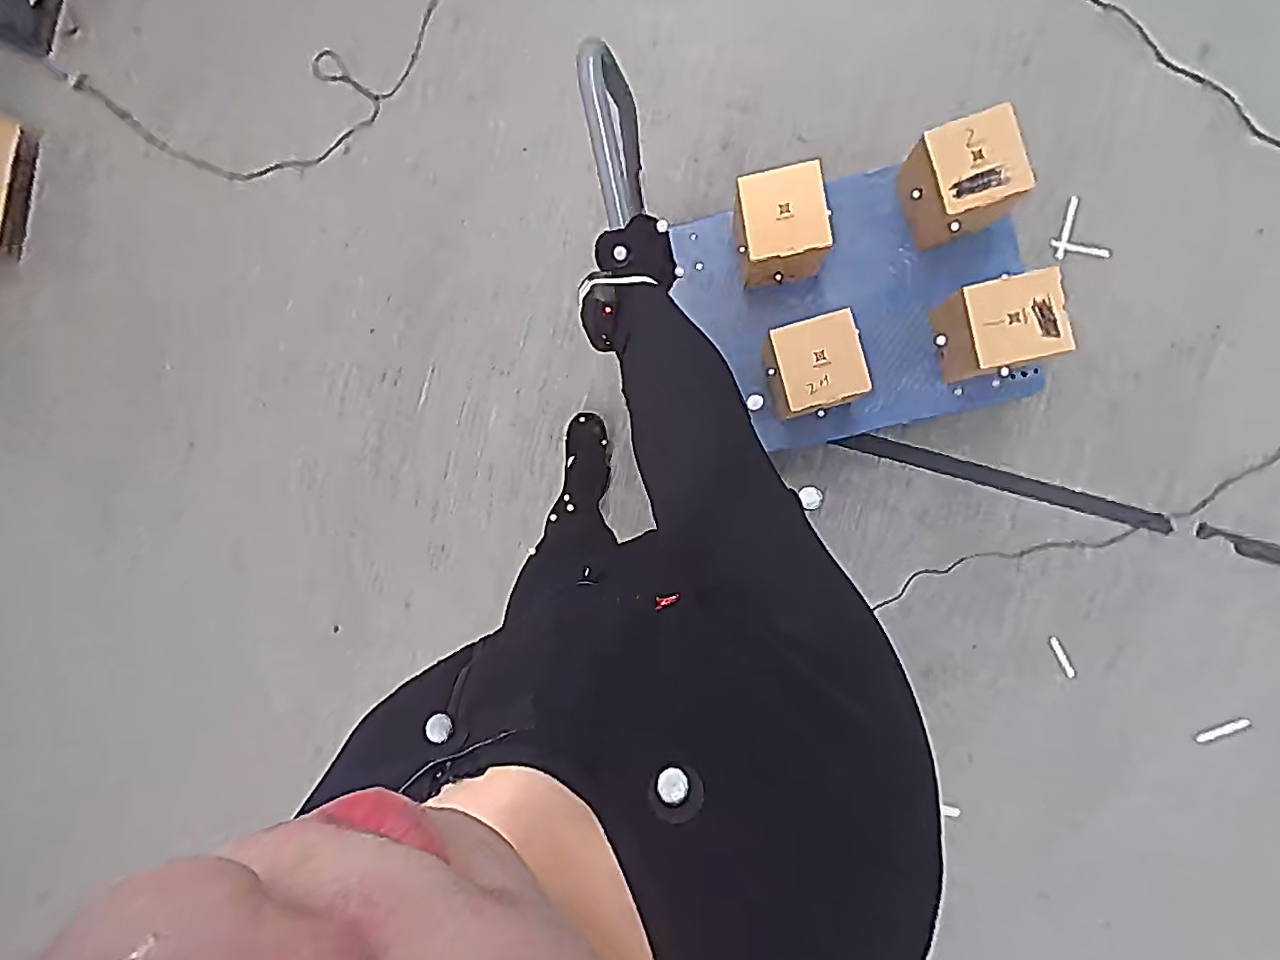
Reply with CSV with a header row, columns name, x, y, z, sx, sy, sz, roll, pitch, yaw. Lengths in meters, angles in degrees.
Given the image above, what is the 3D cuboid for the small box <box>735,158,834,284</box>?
name,x,y,z,sx,sy,sz,roll,pitch,yaw
small box,0.303,-0.549,1.168,0.168,0.176,0.179,-10,91,6

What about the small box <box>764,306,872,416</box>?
name,x,y,z,sx,sy,sz,roll,pitch,yaw
small box,0.373,-0.247,1.164,0.168,0.176,0.179,-15,89,7

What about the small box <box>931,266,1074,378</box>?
name,x,y,z,sx,sy,sz,roll,pitch,yaw
small box,0.739,-0.317,1.119,0.179,0.176,0.168,-11,90,8
